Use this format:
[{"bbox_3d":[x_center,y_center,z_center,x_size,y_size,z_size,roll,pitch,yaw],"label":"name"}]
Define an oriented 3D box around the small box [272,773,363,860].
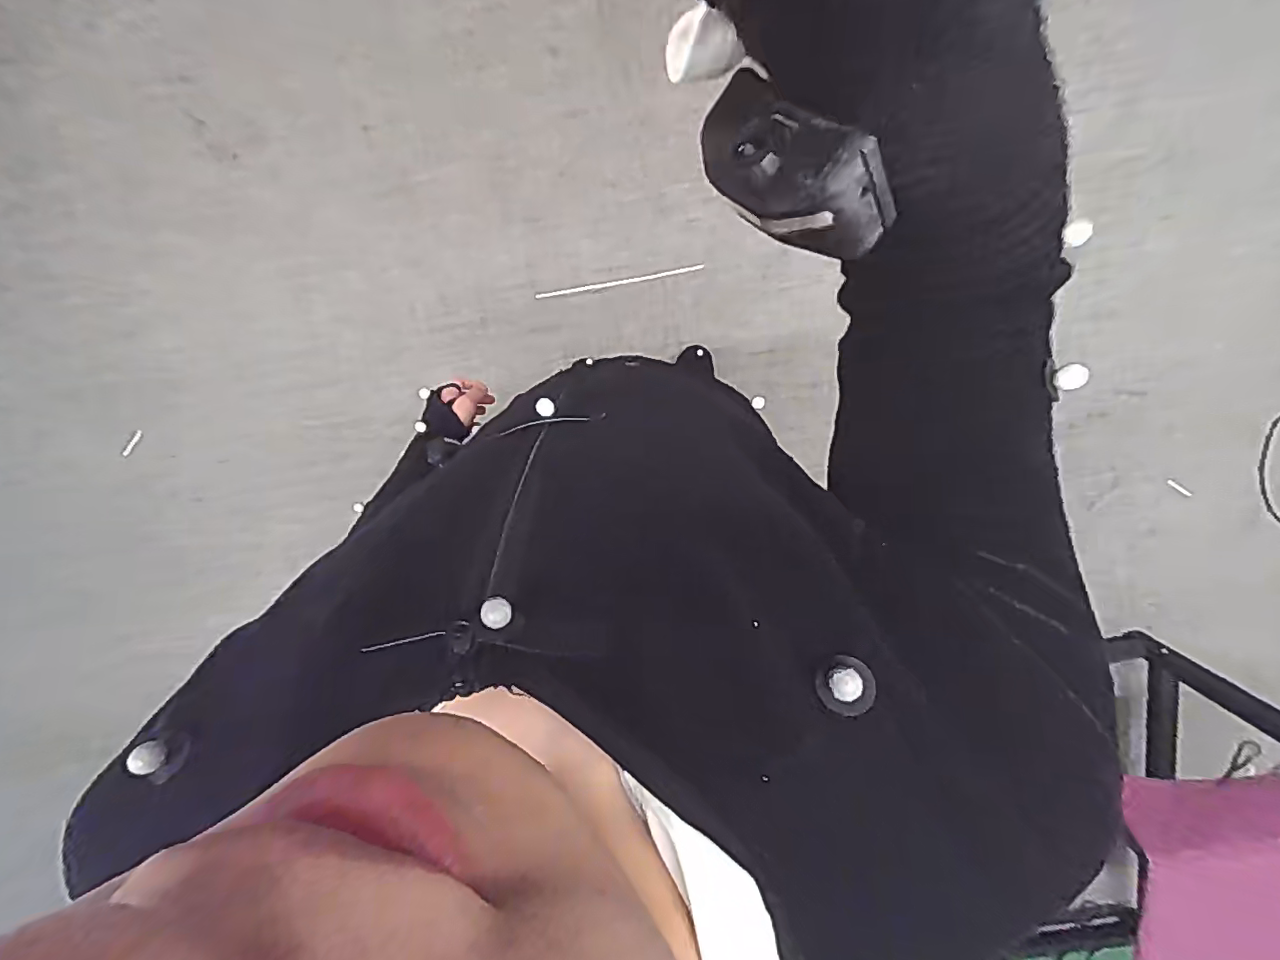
[{"bbox_3d":[-1.051,1.098,1.775,0.179,0.176,0.168,-10,102,1],"label":"small box"}]
